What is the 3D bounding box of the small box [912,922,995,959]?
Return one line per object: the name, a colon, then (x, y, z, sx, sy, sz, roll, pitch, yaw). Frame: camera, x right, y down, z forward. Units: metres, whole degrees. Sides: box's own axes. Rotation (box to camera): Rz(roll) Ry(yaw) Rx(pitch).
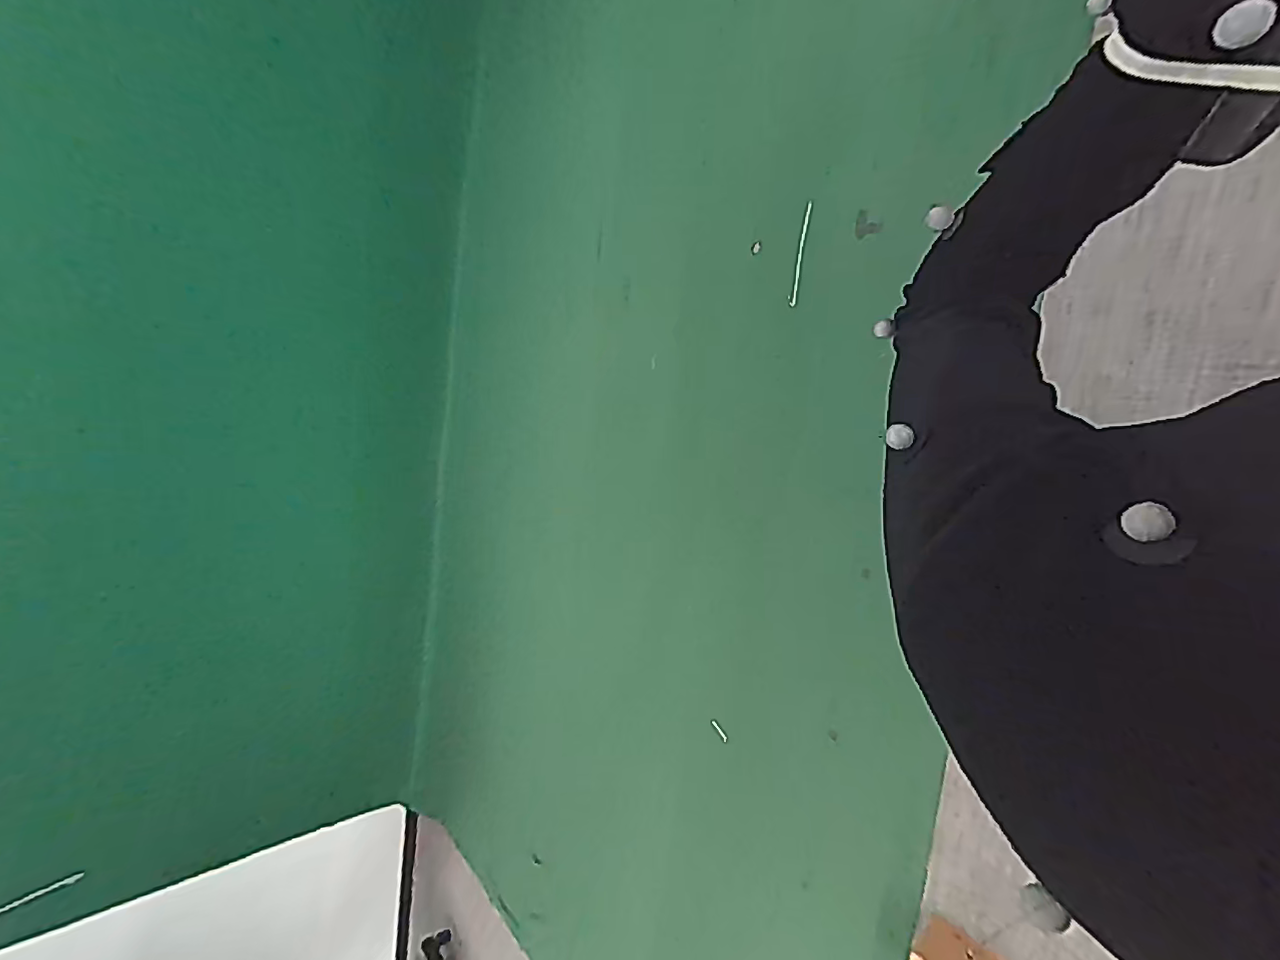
small box: (0.738, 1.209, 1.265, 0.168, 0.176, 0.179, 13, 97, 45)
